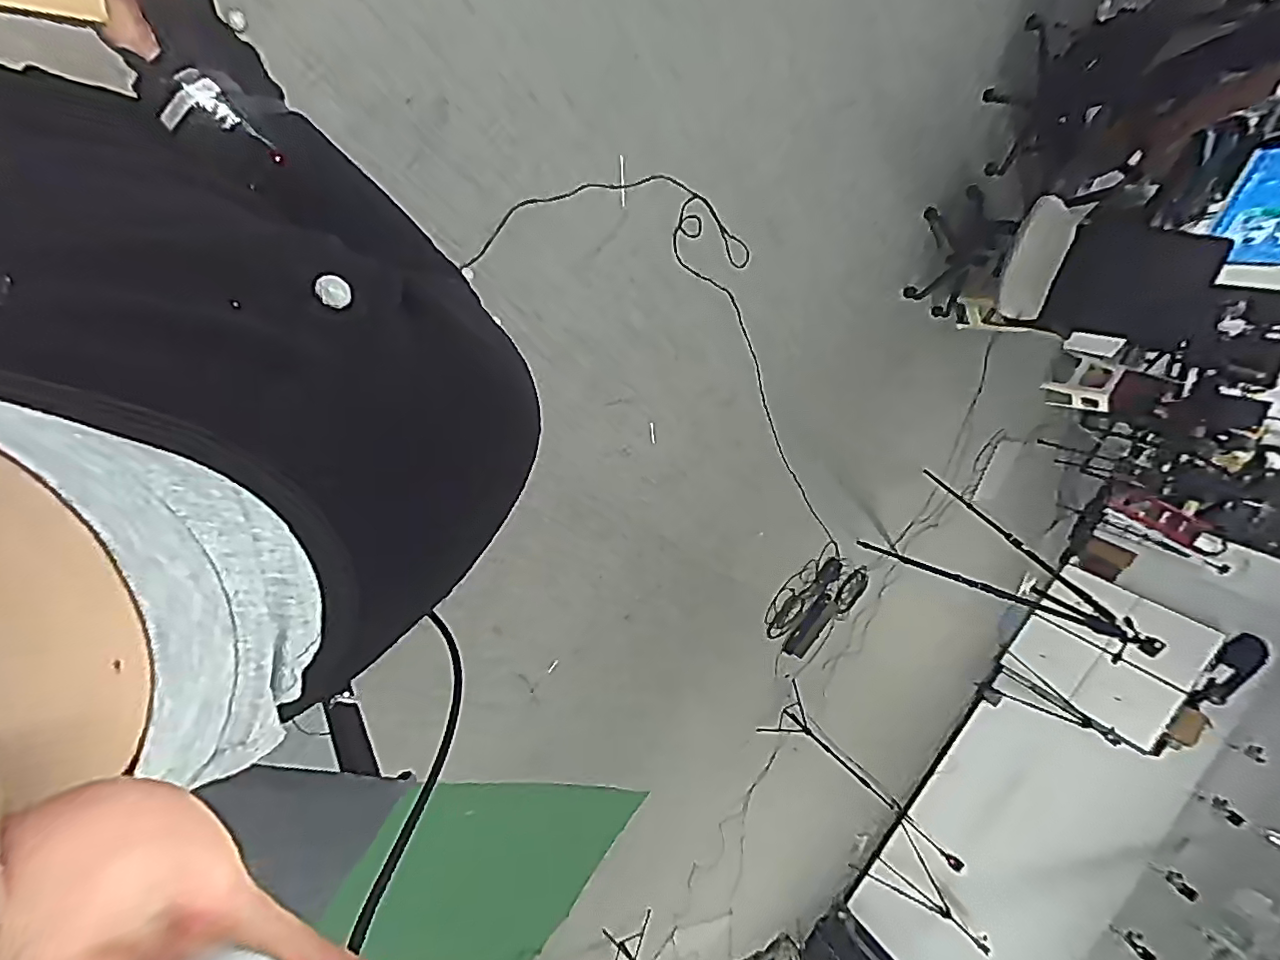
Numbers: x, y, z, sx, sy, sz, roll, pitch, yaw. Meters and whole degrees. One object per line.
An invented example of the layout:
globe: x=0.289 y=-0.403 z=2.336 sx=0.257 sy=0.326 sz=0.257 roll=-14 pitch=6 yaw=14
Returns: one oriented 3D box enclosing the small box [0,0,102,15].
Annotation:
small box: x=-0.395 y=-0.335 z=0.246 sx=0.179 sy=0.176 sz=0.168 roll=-21 pitch=134 yaw=-38
